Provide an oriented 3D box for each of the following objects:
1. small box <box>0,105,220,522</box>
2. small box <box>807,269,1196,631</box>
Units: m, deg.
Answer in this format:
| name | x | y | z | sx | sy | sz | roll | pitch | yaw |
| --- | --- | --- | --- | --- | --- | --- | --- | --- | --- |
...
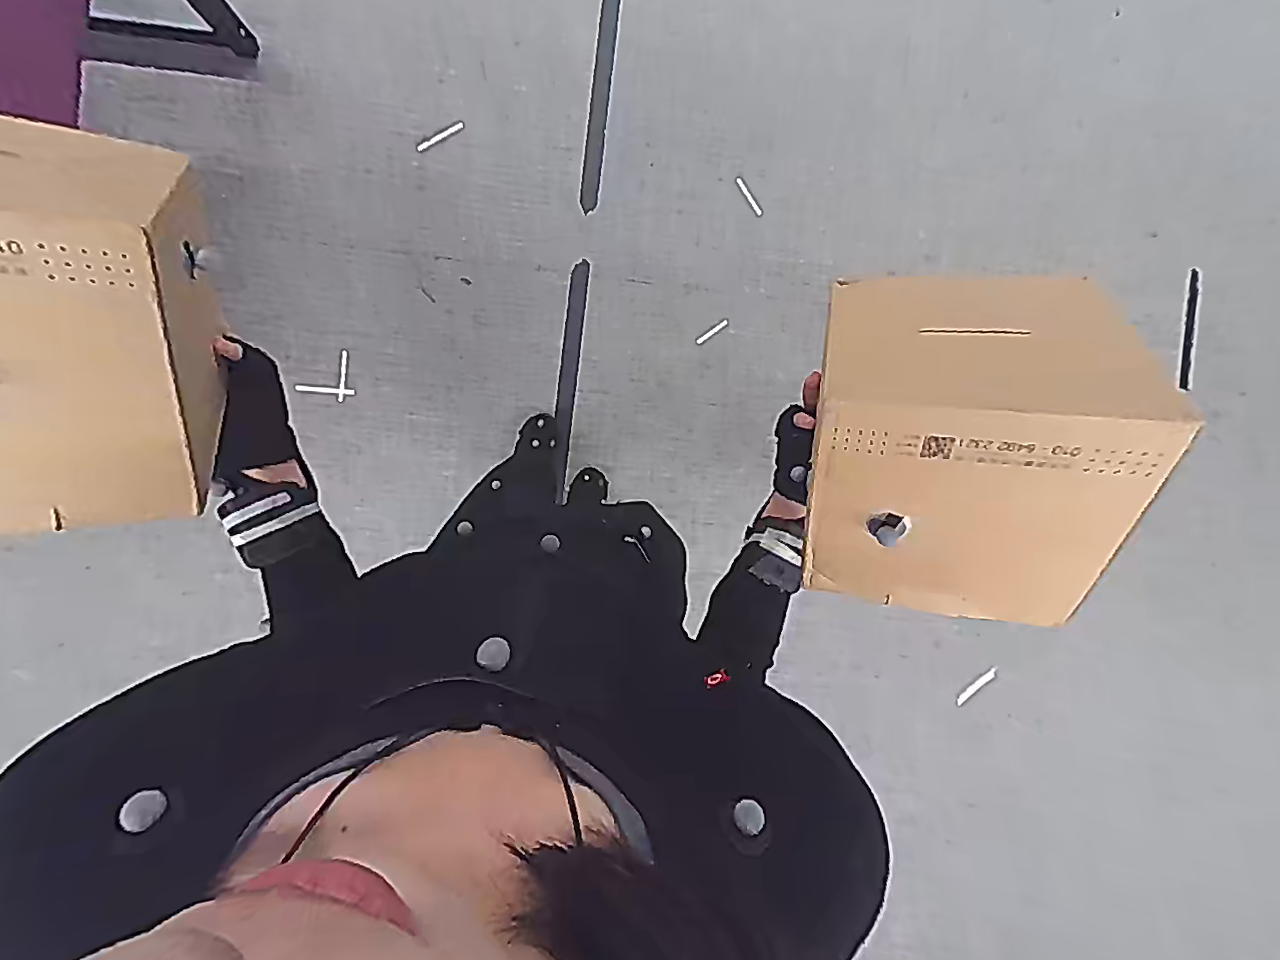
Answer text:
| name | x | y | z | sx | sy | sz | roll | pitch | yaw |
| --- | --- | --- | --- | --- | --- | --- | --- | --- | --- |
| small box | -0.338 | -0.093 | 0.282 | 0.168 | 0.179 | 0.176 | -3 | 127 | -31 |
| small box | 0.210 | -0.031 | 0.367 | 0.168 | 0.179 | 0.176 | 8 | 132 | 16 |
